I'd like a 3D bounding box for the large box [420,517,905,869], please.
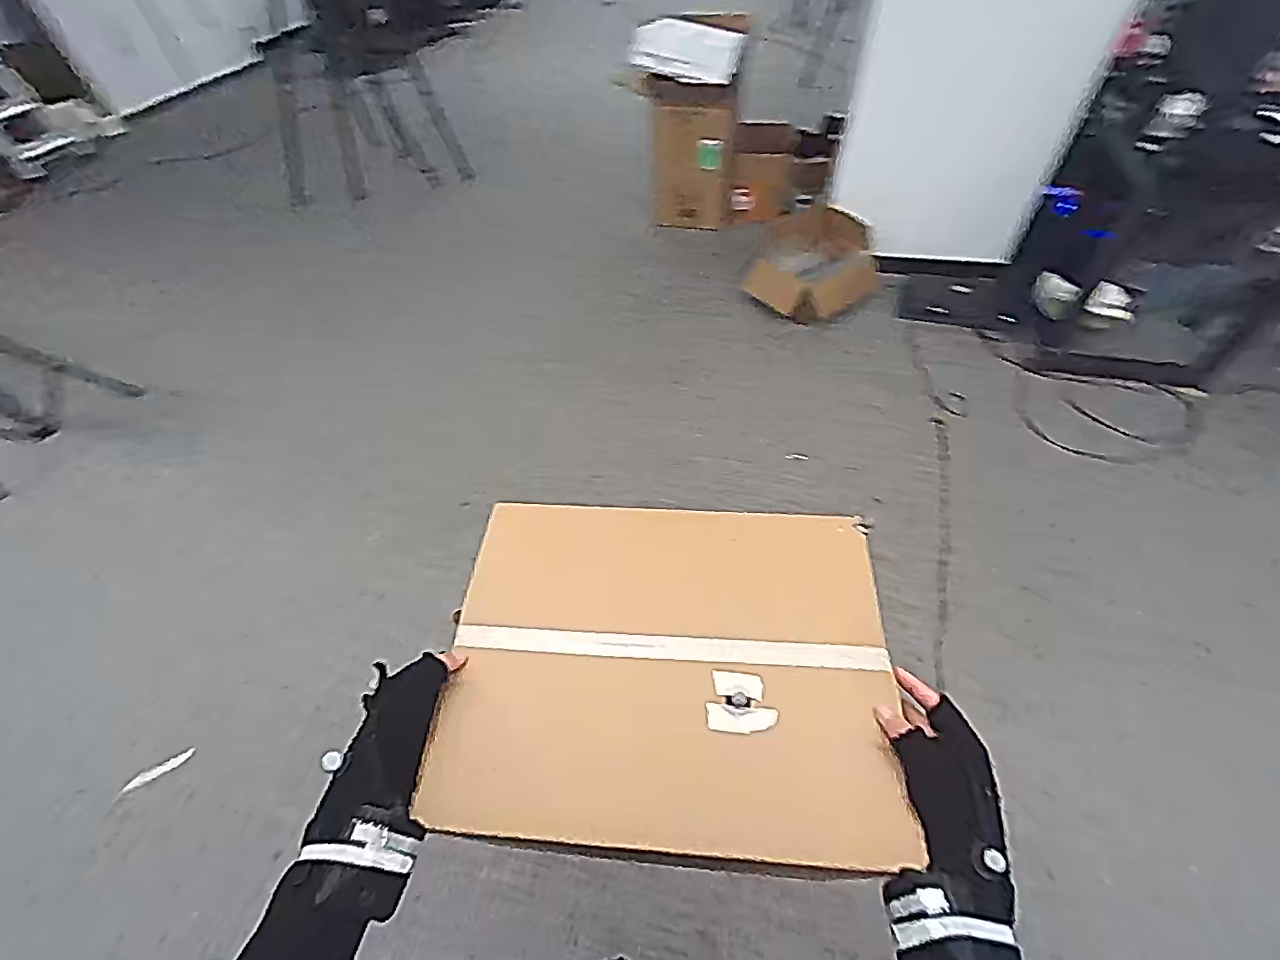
[{"bbox_3d":[0.025,0.258,0.643,0.408,0.320,0.320,2,54,4],"label":"large box"}]
